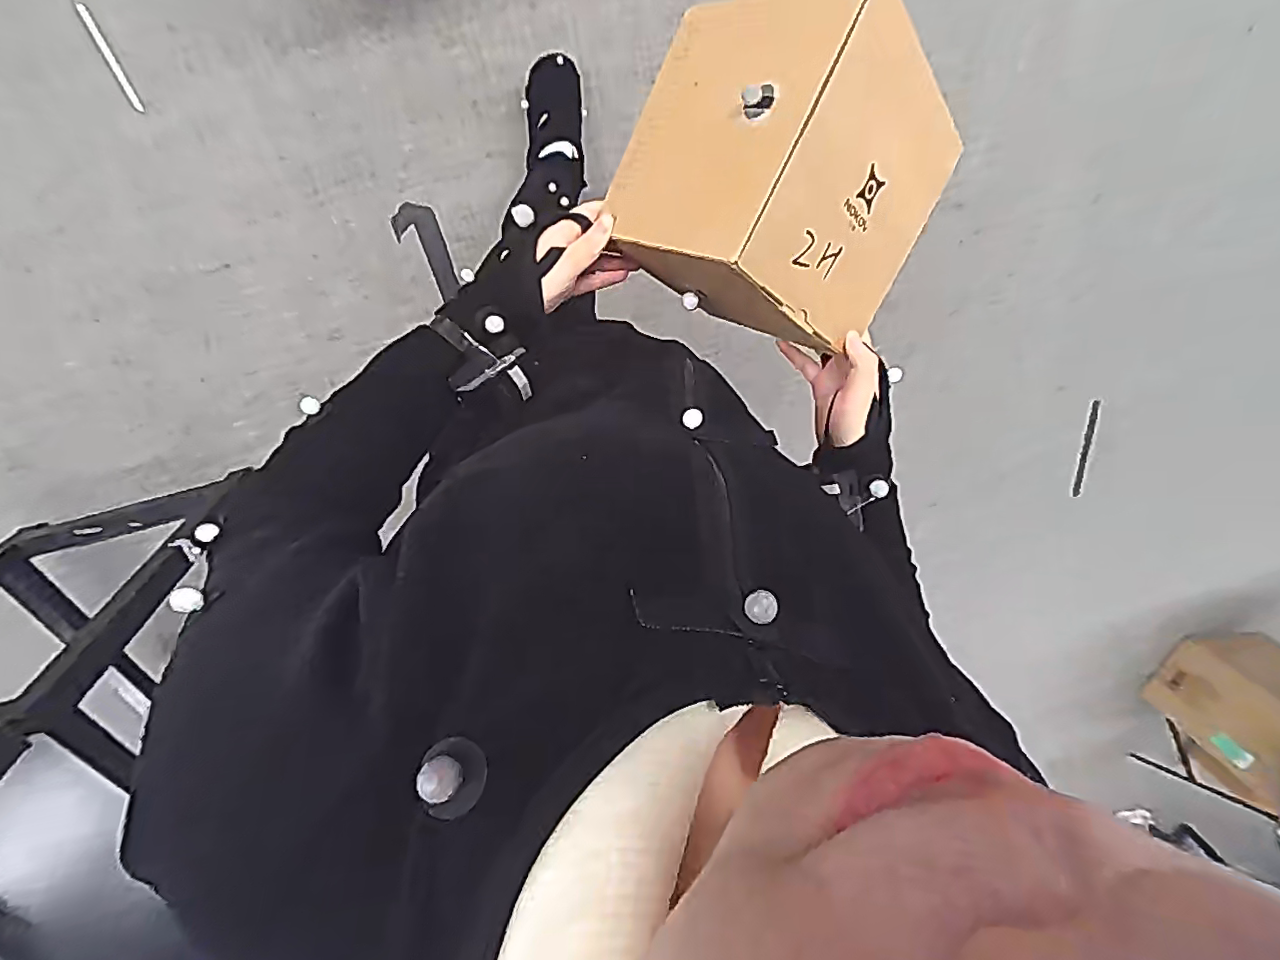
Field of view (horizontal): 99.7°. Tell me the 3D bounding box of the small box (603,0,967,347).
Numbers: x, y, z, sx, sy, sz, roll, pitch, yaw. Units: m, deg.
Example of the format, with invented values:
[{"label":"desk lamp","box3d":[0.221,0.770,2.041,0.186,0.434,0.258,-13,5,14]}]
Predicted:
[{"label":"small box","box3d":[0.100,-0.230,0.406,0.168,0.176,0.179,17,104,-45]}]
